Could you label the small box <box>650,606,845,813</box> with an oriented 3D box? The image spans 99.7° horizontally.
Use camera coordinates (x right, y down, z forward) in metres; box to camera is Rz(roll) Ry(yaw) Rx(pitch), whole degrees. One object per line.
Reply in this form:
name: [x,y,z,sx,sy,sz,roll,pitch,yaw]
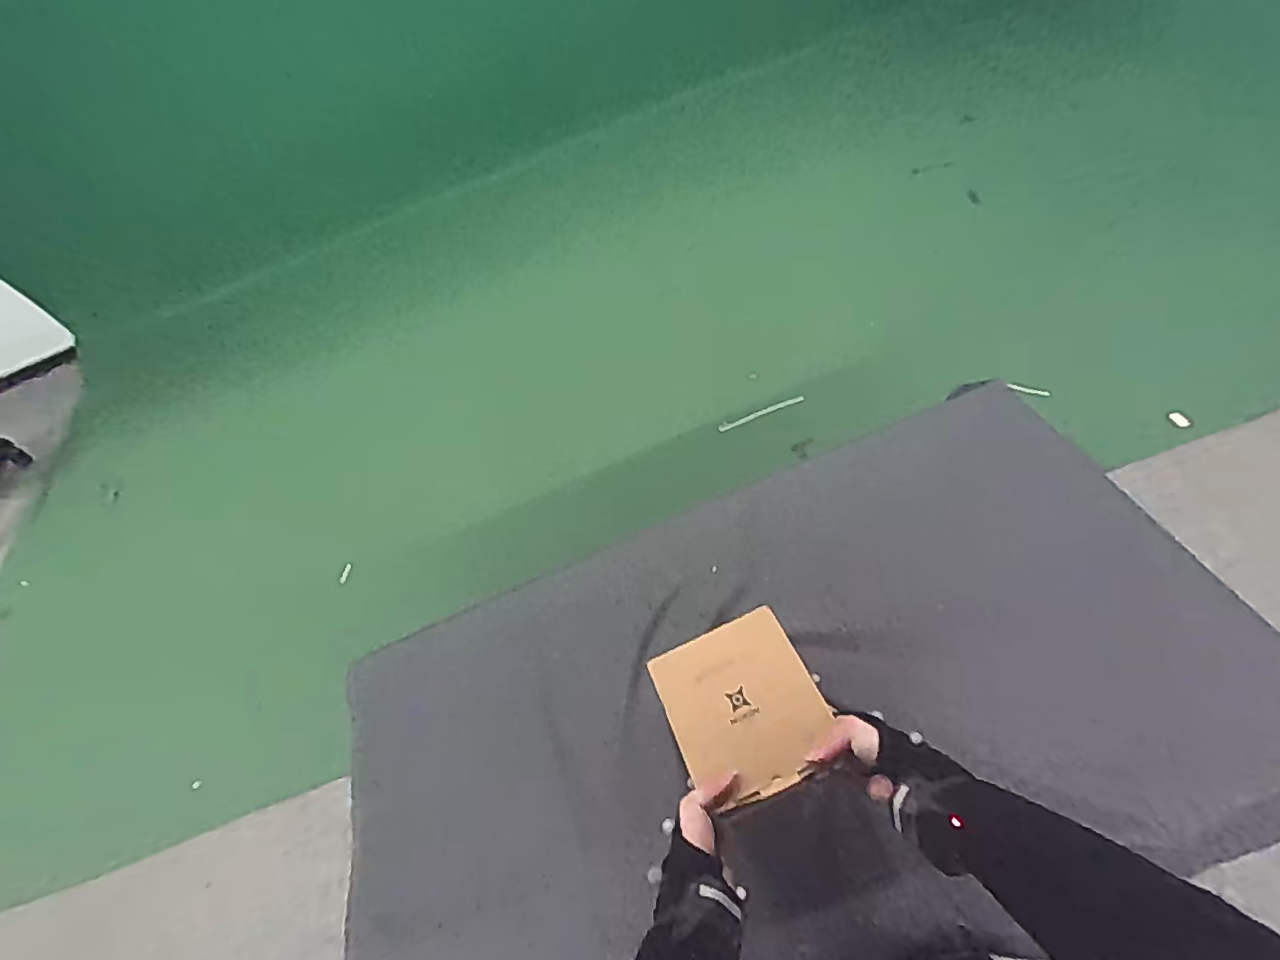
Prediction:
small box: [0.130,0.291,0.677,0.168,0.176,0.179,-23,54,-3]
